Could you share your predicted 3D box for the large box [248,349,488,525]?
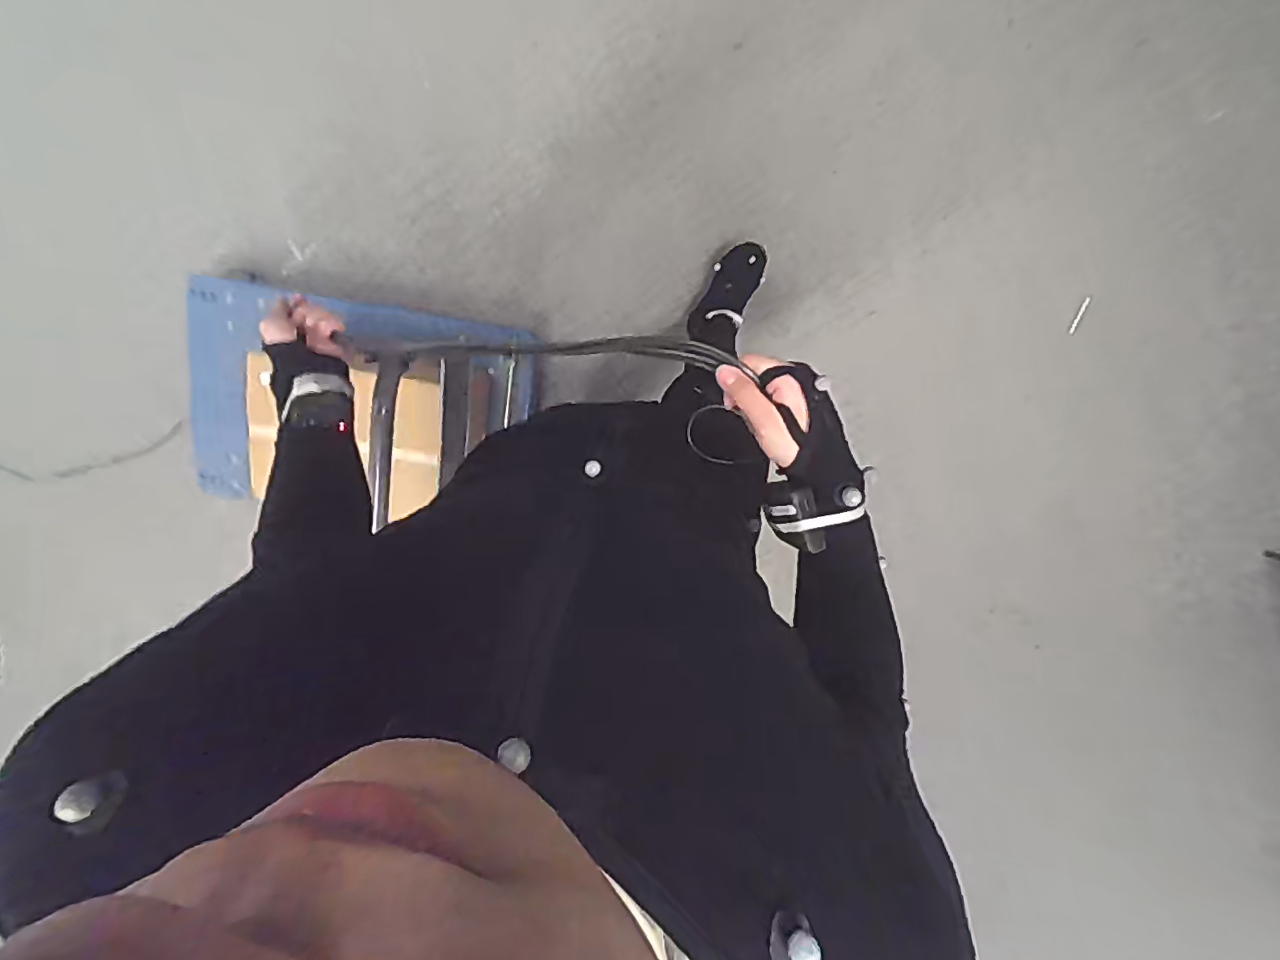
[{"bbox_3d":[-0.598,-0.116,1.254,0.408,0.320,0.320,9,105,-1],"label":"large box"}]
